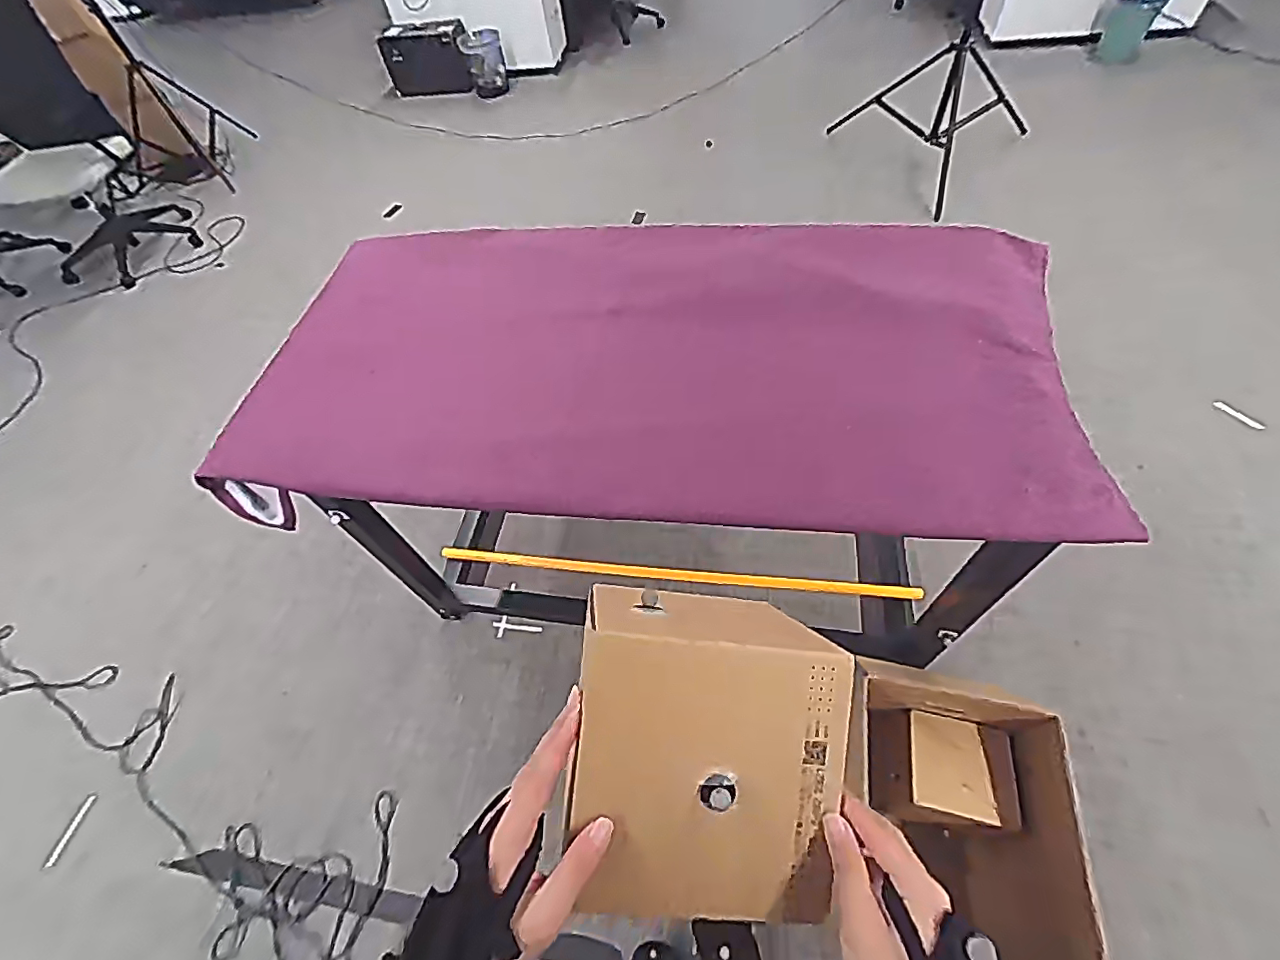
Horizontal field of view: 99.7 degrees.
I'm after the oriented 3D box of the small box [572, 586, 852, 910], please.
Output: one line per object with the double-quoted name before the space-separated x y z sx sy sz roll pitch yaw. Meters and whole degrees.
"small box" 0.042 0.183 0.414 0.176 0.179 0.168 7 87 -6
